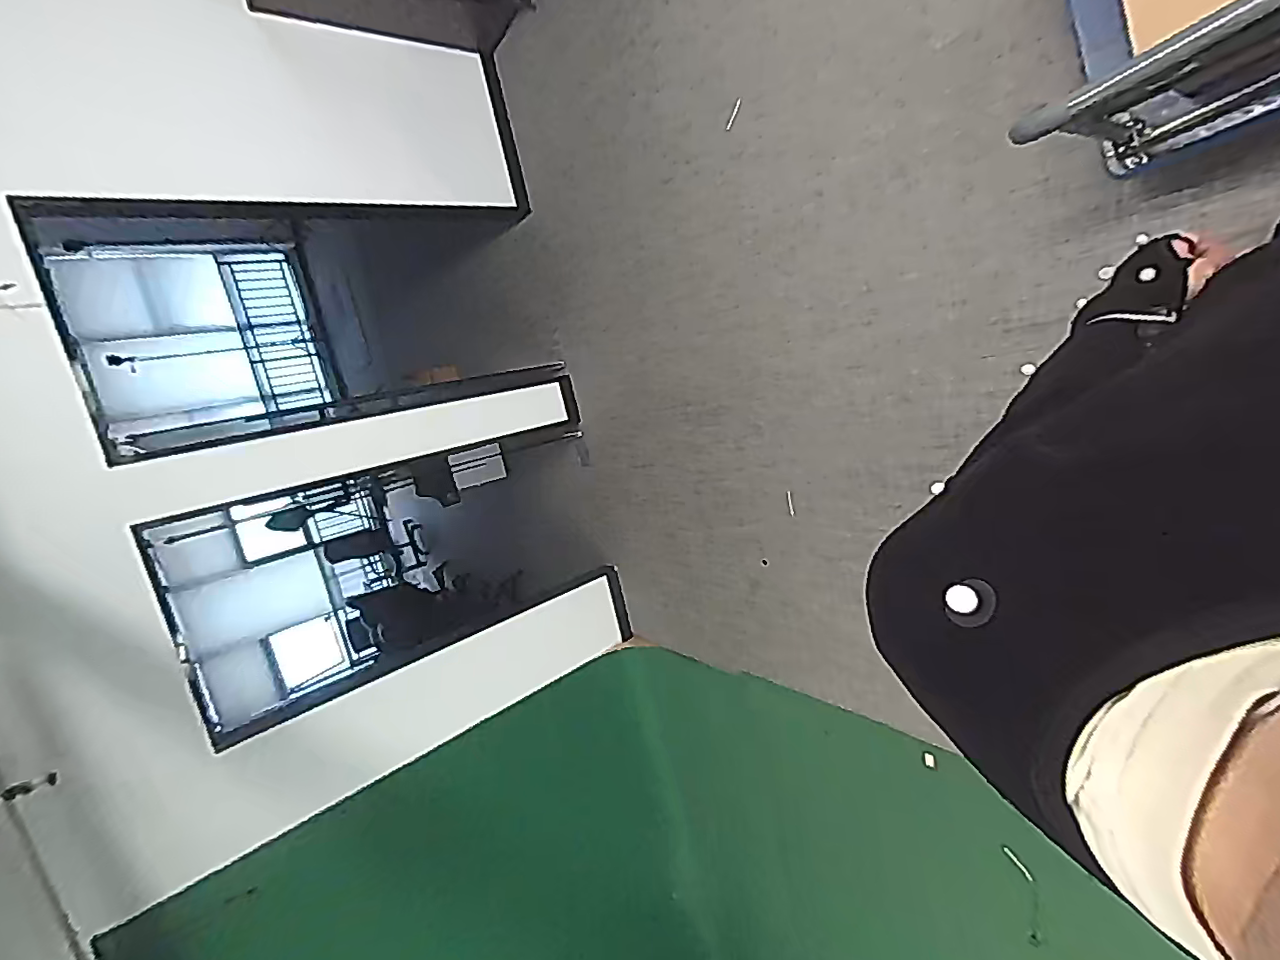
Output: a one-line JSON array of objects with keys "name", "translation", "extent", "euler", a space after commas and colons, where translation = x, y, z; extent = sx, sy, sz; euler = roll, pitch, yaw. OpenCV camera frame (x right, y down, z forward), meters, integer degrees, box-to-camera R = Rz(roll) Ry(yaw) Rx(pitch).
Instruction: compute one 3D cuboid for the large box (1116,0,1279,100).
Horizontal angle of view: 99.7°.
[{"name": "large box", "translation": [0.887, -0.846, 0.752], "extent": [0.320, 0.320, 0.408], "euler": [-10, 95, 54]}]
